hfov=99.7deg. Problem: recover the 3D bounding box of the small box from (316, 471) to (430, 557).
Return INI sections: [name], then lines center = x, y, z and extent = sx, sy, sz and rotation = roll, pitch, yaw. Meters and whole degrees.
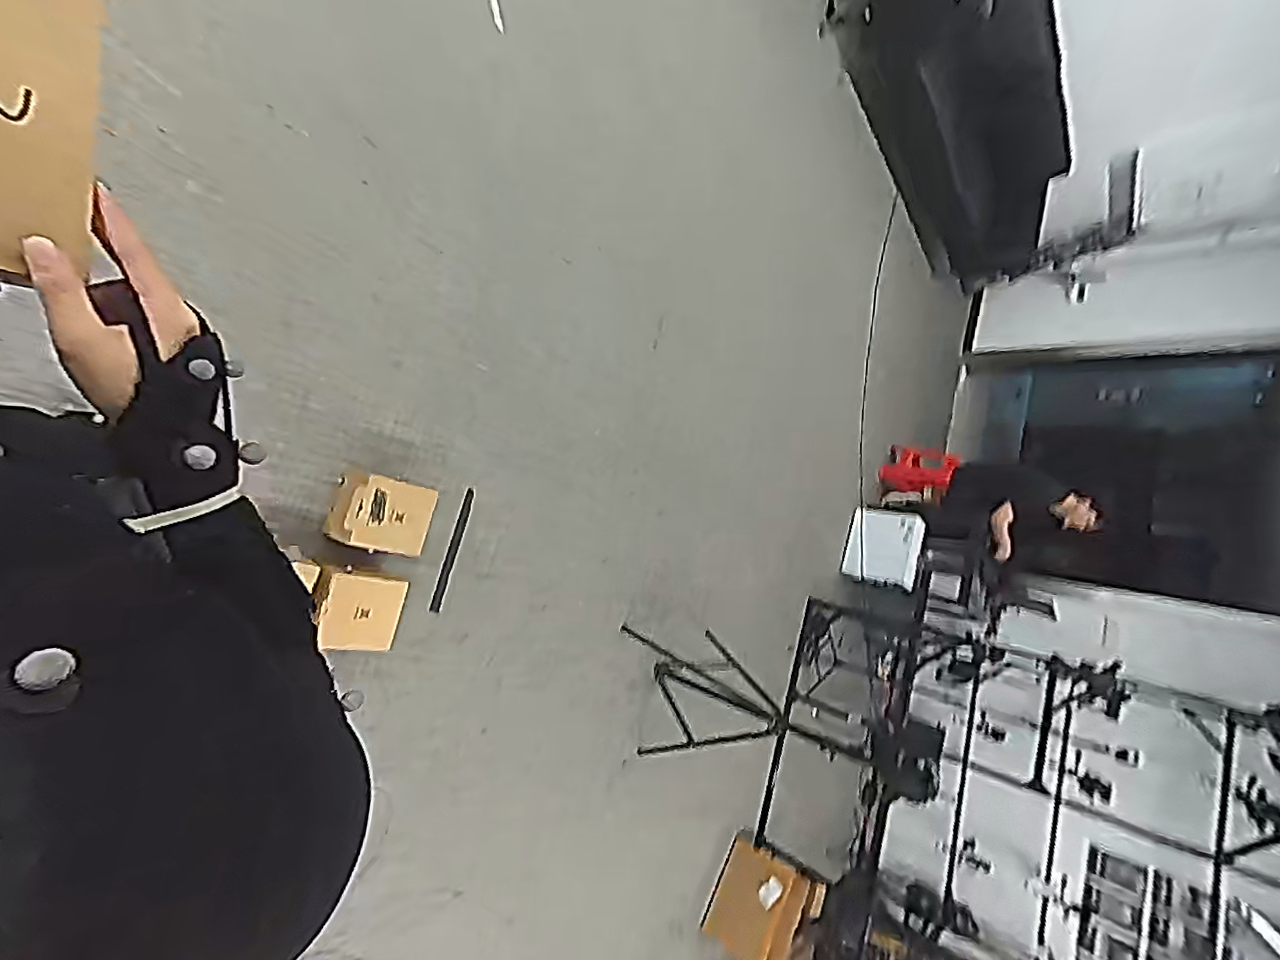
[small box]
center = -0.651, 0.079, 1.313
extent = 0.179, 0.176, 0.168
rotation = 25, 77, -48
